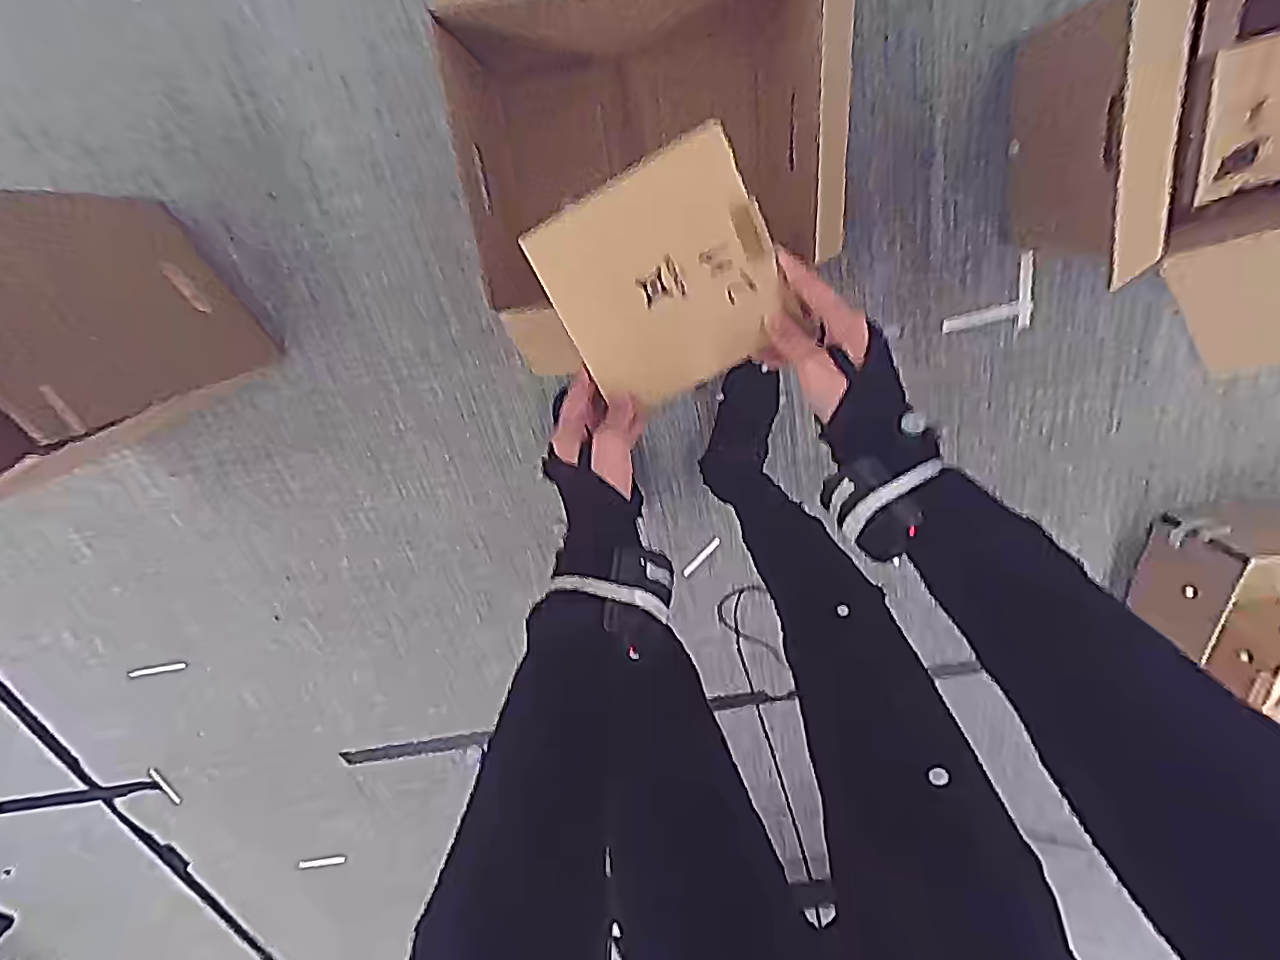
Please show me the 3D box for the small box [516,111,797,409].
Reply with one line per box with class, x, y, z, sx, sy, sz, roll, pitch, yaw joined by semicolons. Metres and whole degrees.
small box;0.018;-0.185;0.502;0.179;0.176;0.168;-27;103;10
